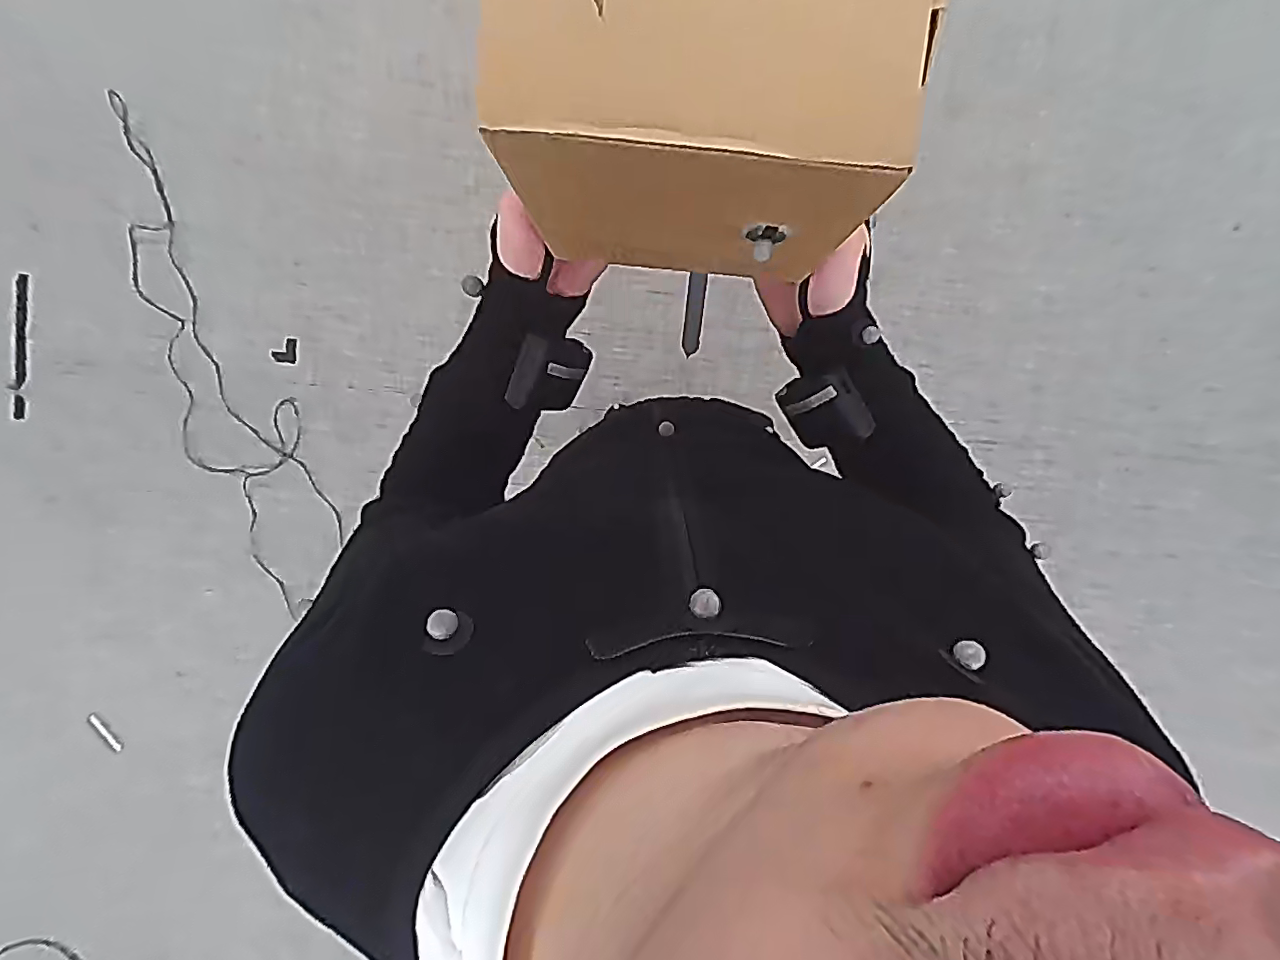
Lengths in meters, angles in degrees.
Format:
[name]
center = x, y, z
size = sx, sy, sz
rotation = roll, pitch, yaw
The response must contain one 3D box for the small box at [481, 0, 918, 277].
[small box]
center = 0.030, -0.220, 0.296
size = 0.179, 0.176, 0.168
rotation = 6, 95, 2
